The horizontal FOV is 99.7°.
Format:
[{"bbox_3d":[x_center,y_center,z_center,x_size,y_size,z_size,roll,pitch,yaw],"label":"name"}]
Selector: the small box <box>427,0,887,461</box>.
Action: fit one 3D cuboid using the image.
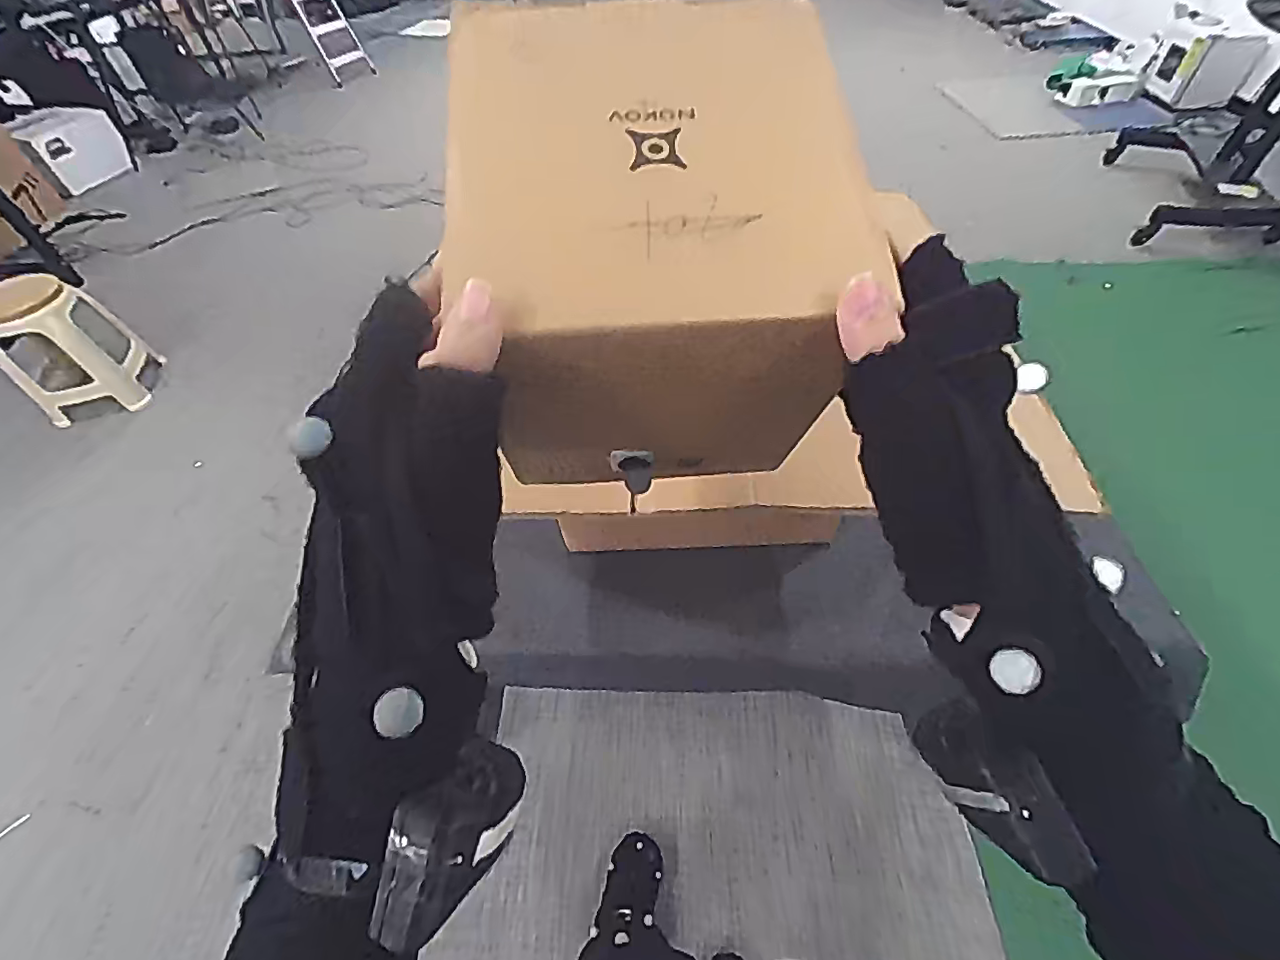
[{"bbox_3d":[-0.001,-0.124,0.292,0.168,0.176,0.179,-4,71,-3],"label":"small box"}]
